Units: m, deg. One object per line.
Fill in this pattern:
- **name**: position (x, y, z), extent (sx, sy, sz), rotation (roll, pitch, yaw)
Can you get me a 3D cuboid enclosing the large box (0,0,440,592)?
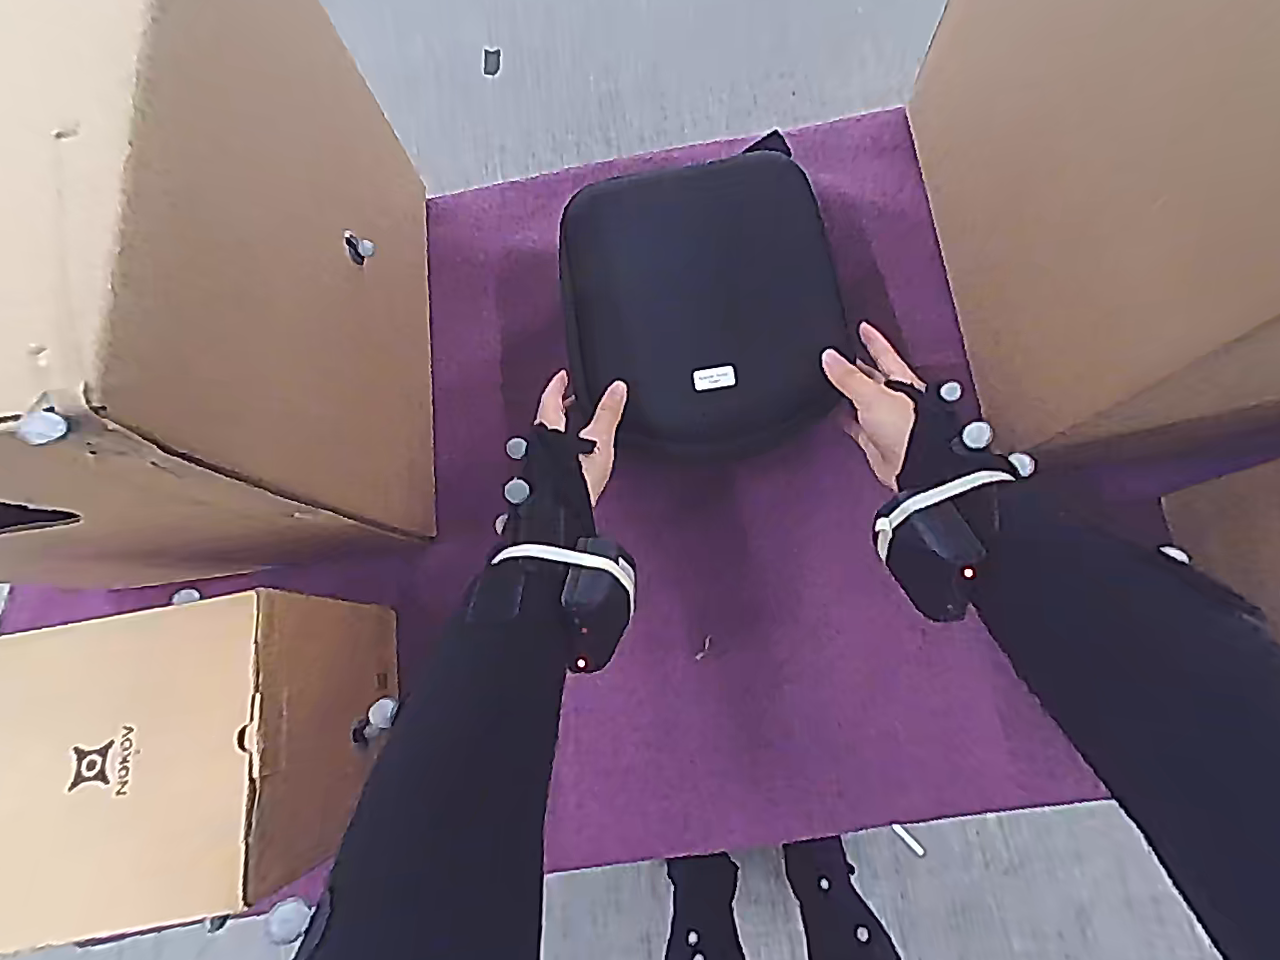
- **large box**: position (-0.373, -0.142, 0.416), extent (0.320, 0.320, 0.408), rotation (-9, 76, 2)
